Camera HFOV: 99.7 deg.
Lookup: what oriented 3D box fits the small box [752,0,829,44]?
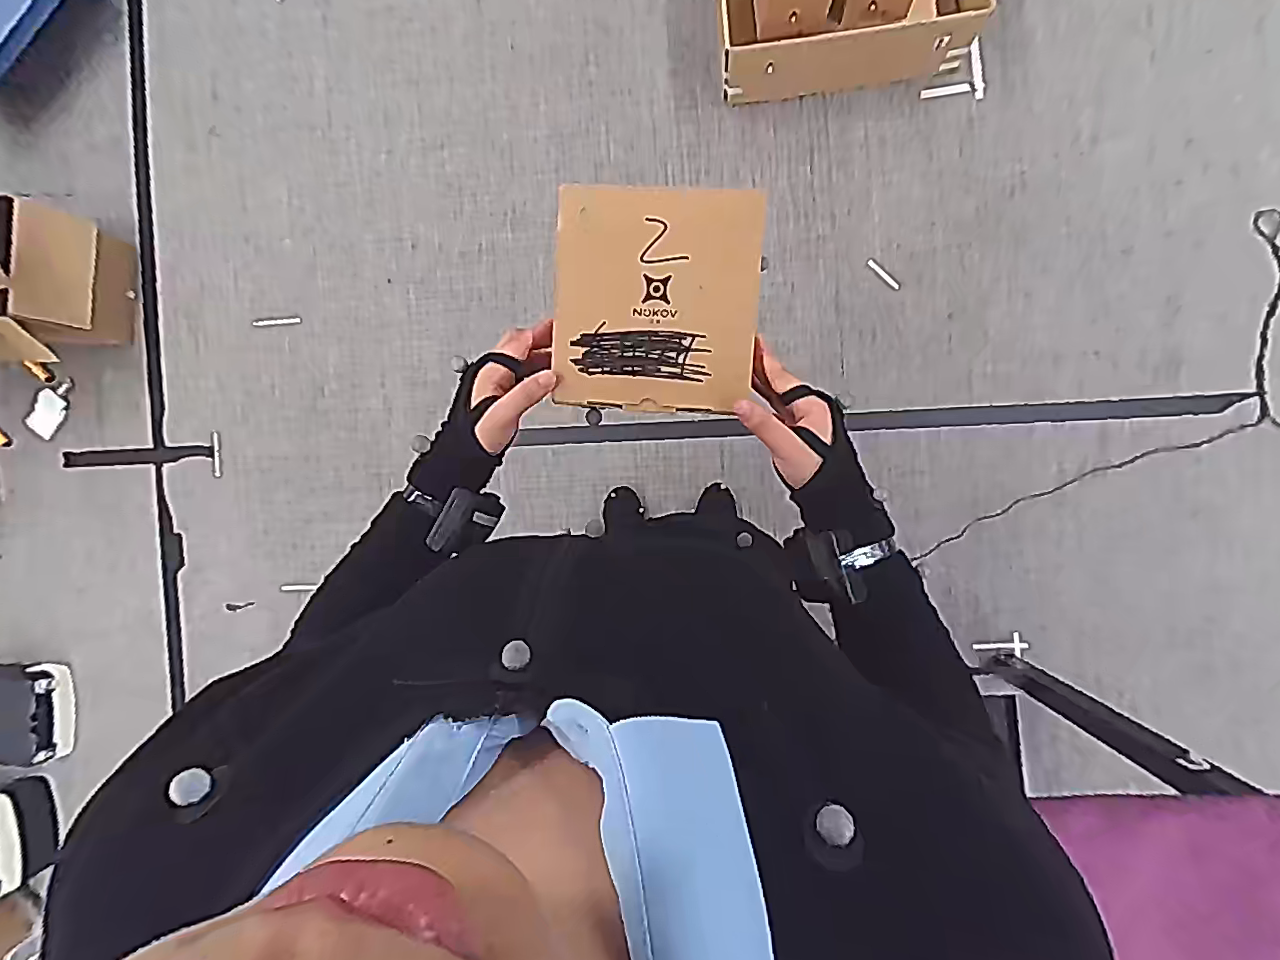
[{"bbox_3d":[0.373,-1.228,1.338,0.168,0.176,0.179,-6,90,4],"label":"small box"}]

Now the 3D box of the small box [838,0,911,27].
[{"bbox_3d":[0.588,-1.263,1.319,0.168,0.176,0.179,1,91,6],"label":"small box"}]
